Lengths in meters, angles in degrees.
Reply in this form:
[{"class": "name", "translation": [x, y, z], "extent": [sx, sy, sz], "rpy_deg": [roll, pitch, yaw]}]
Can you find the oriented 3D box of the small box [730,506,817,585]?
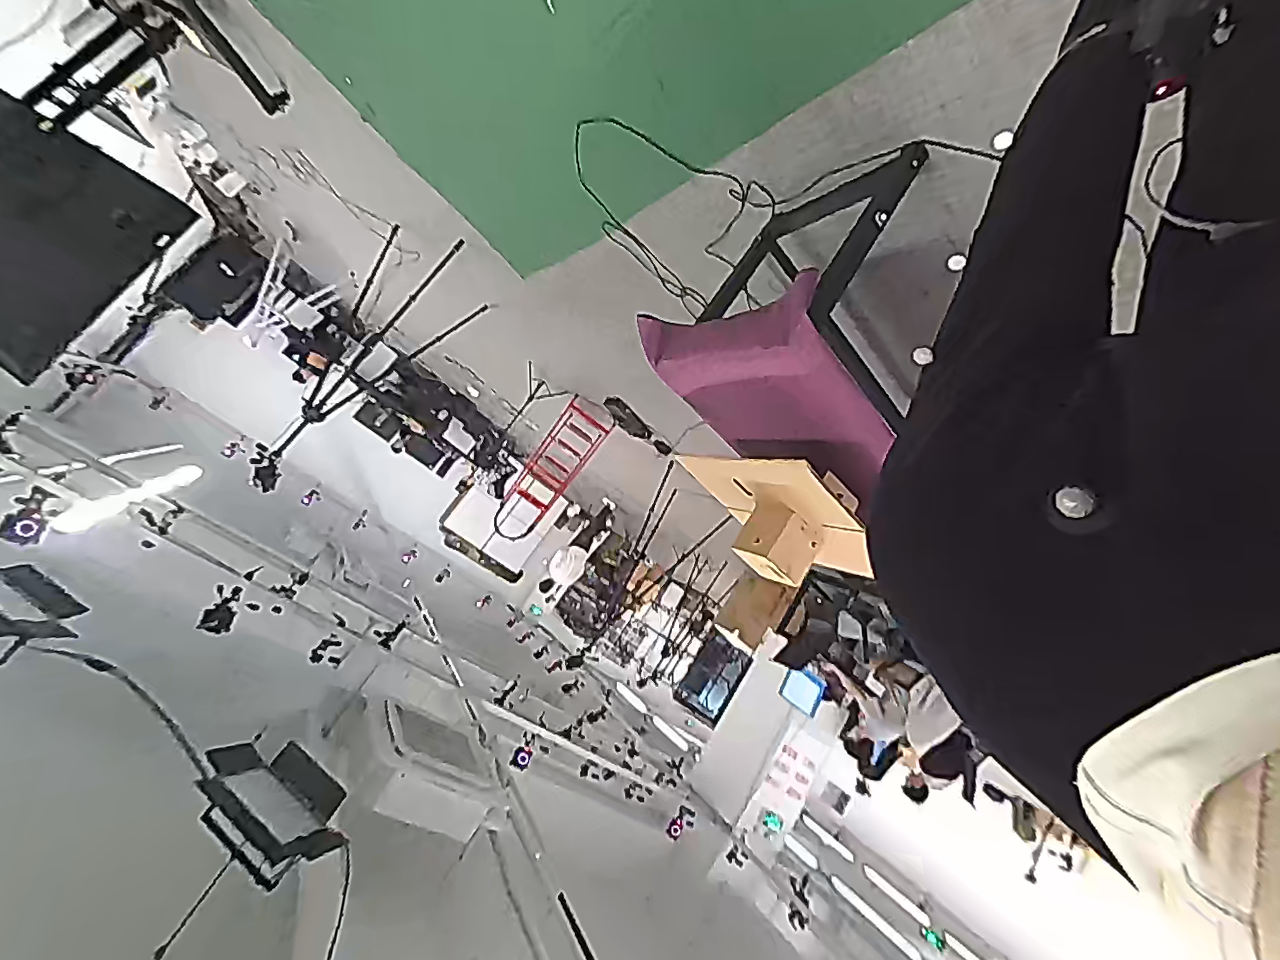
[{"class": "small box", "translation": [0.419, 0.195, 1.672], "extent": [0.168, 0.176, 0.179], "rpy_deg": [42, 165, -24]}]
